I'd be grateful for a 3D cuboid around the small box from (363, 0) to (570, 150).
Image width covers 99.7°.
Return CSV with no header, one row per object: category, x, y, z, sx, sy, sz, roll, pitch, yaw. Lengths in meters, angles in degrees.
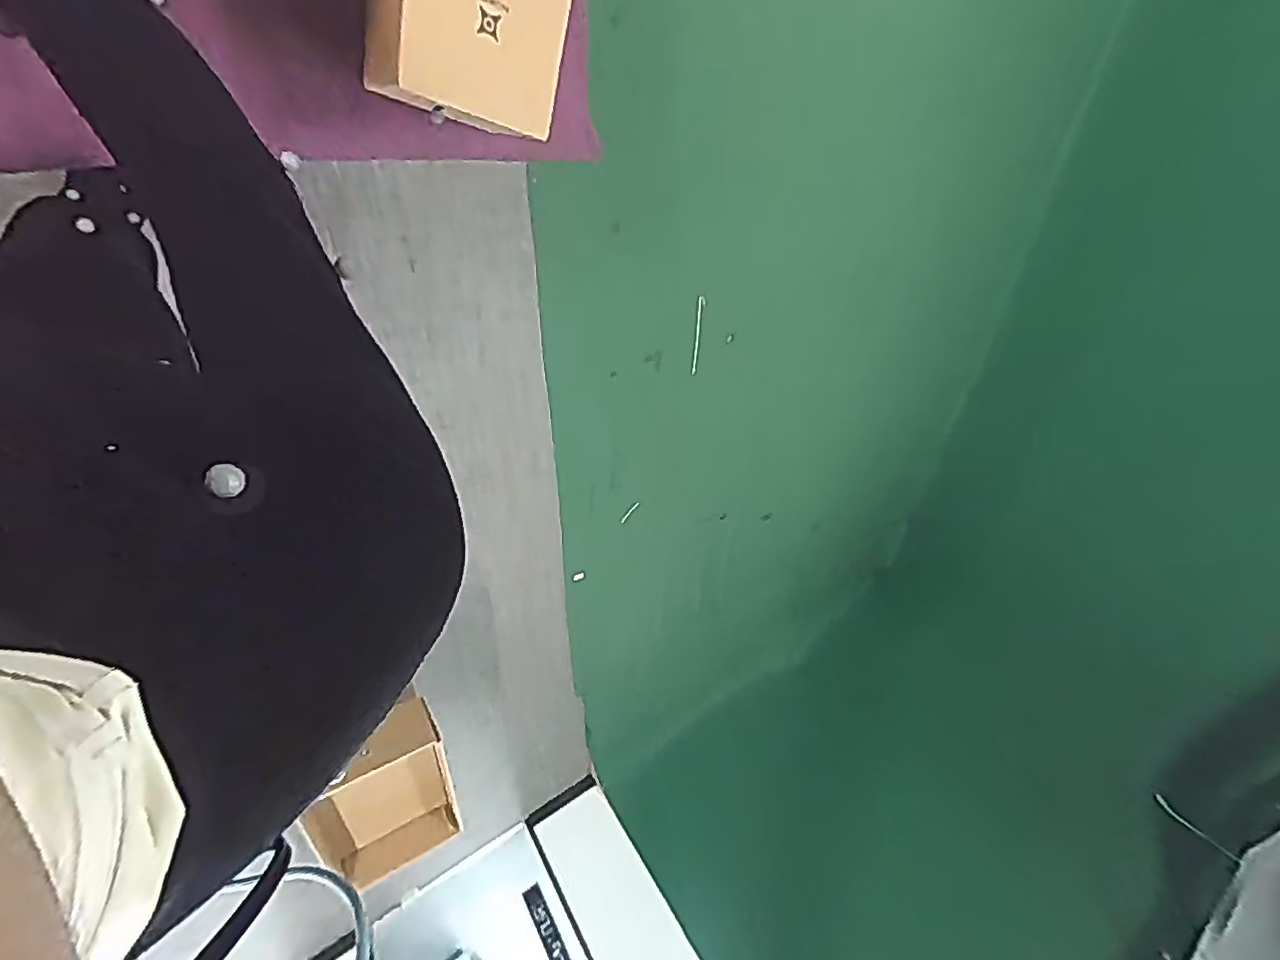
small box,-0.199,-0.493,0.599,0.168,0.176,0.179,-4,120,-38
